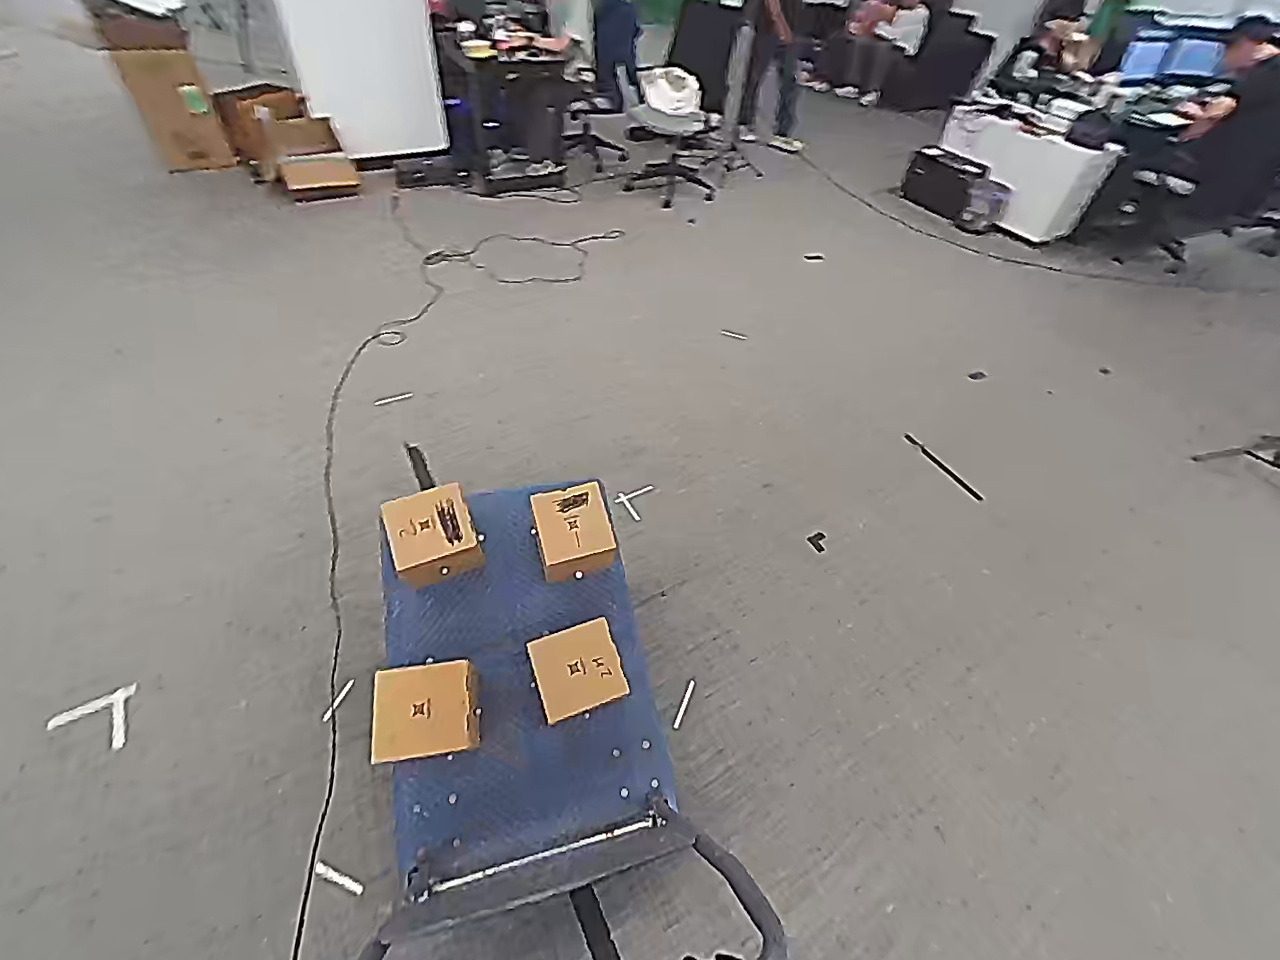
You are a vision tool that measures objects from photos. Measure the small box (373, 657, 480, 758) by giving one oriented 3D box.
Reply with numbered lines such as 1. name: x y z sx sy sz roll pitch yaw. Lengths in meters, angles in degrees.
1. small box: -0.432 0.472 1.116 0.179 0.176 0.168 -4 66 -13

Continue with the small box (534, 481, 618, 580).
1. small box: -0.162 0.127 1.321 0.168 0.176 0.179 -13 69 -14

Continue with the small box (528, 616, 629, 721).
1. small box: -0.136 0.418 1.187 0.179 0.176 0.168 -15 69 -15
